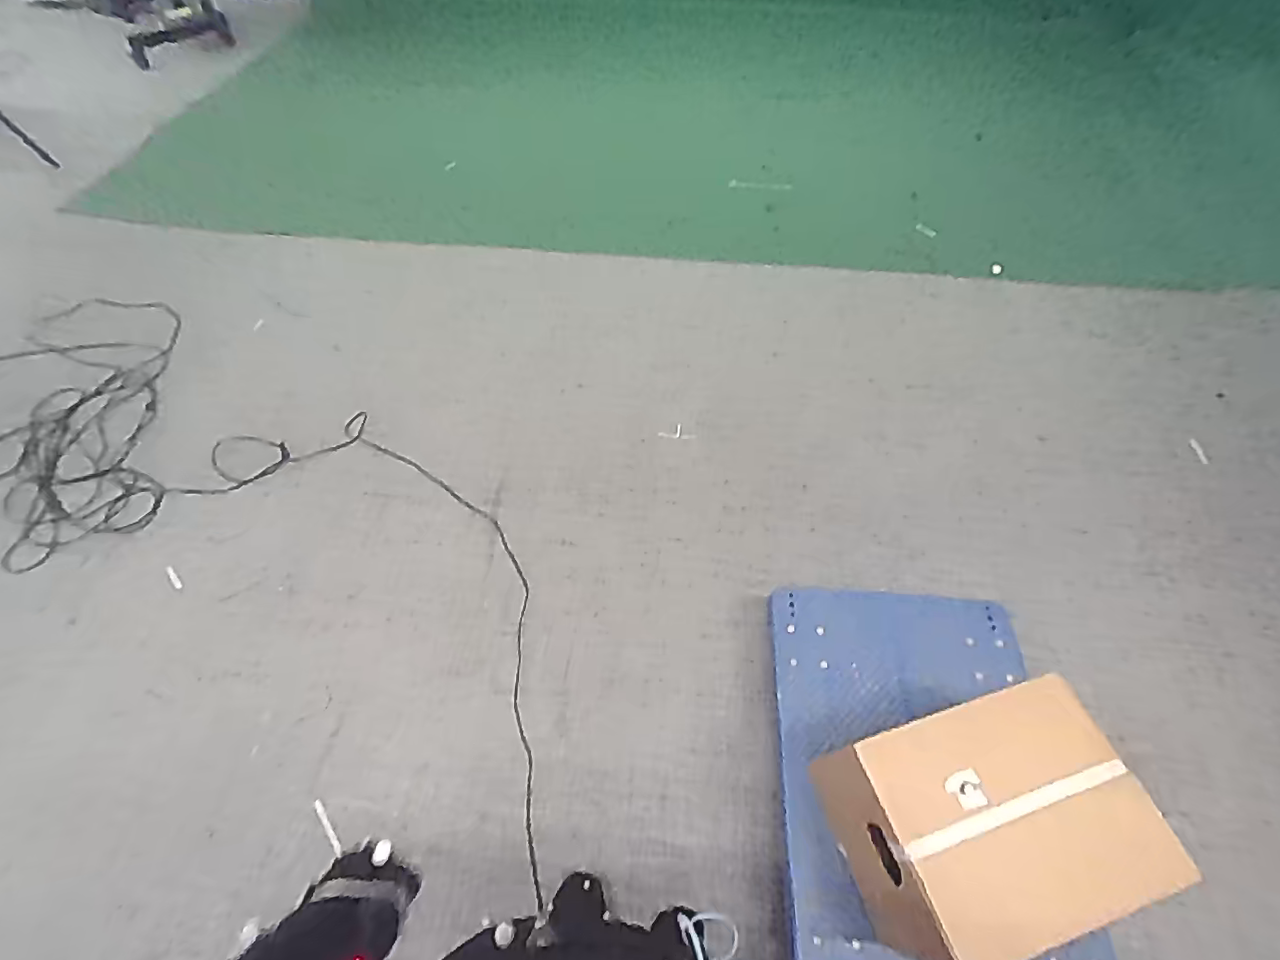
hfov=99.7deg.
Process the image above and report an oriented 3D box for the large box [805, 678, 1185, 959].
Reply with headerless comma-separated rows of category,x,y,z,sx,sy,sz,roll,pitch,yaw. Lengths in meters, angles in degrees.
large box,0.573,0.594,0.964,0.408,0.320,0.320,-14,58,-8
